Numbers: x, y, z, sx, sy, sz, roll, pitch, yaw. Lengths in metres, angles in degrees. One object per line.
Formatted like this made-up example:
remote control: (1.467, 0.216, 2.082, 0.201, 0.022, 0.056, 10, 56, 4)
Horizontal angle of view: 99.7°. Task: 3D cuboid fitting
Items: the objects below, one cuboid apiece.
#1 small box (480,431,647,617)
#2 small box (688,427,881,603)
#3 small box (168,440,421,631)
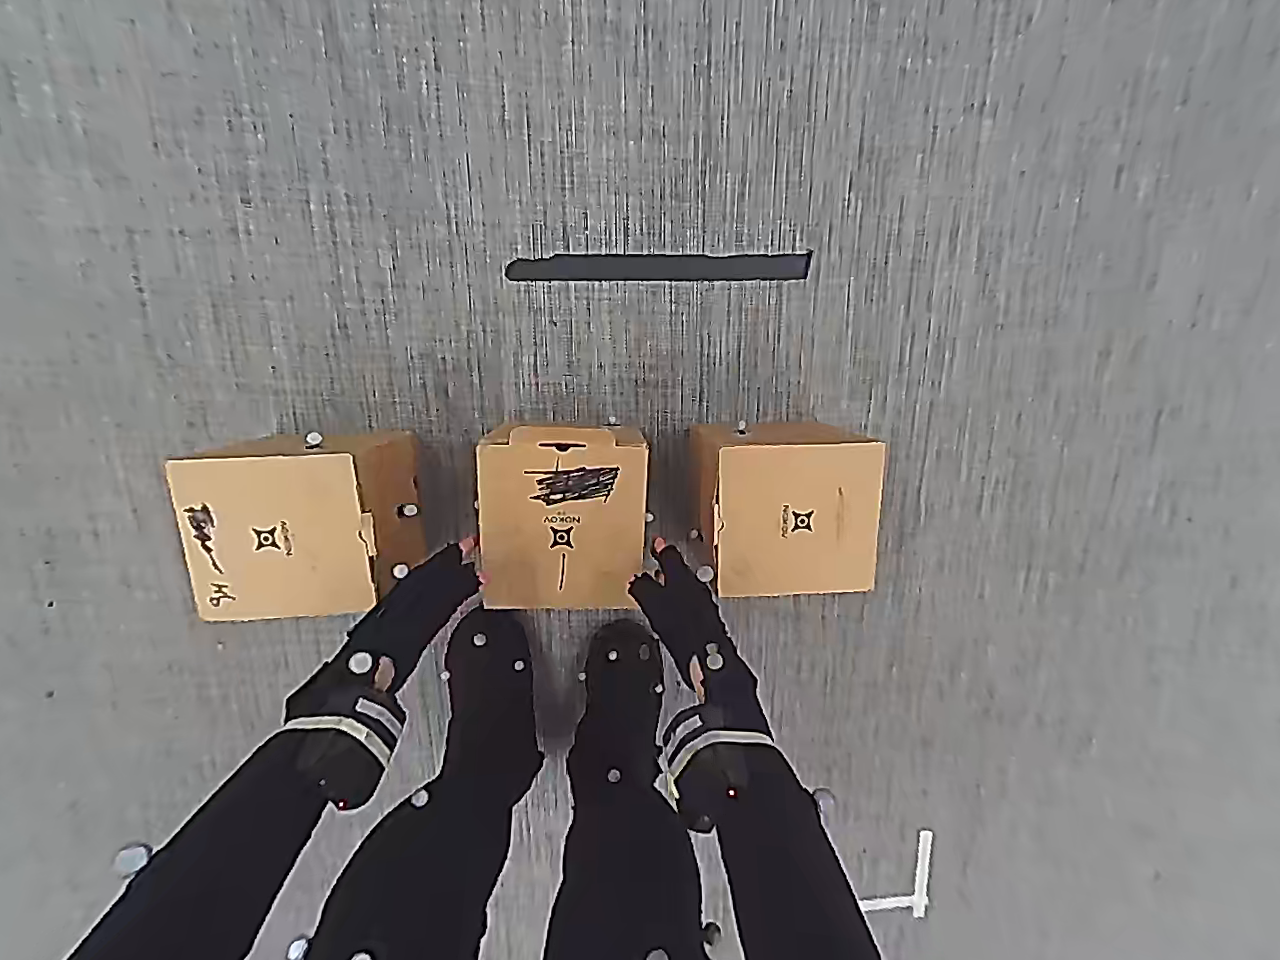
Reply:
small box: (-0.084, 0.040, 0.620, 0.168, 0.176, 0.179, 1, 103, -4)
small box: (0.154, 0.031, 0.639, 0.179, 0.176, 0.168, -3, 104, -5)
small box: (-0.357, 0.049, 0.603, 0.179, 0.176, 0.168, -3, 103, -4)
